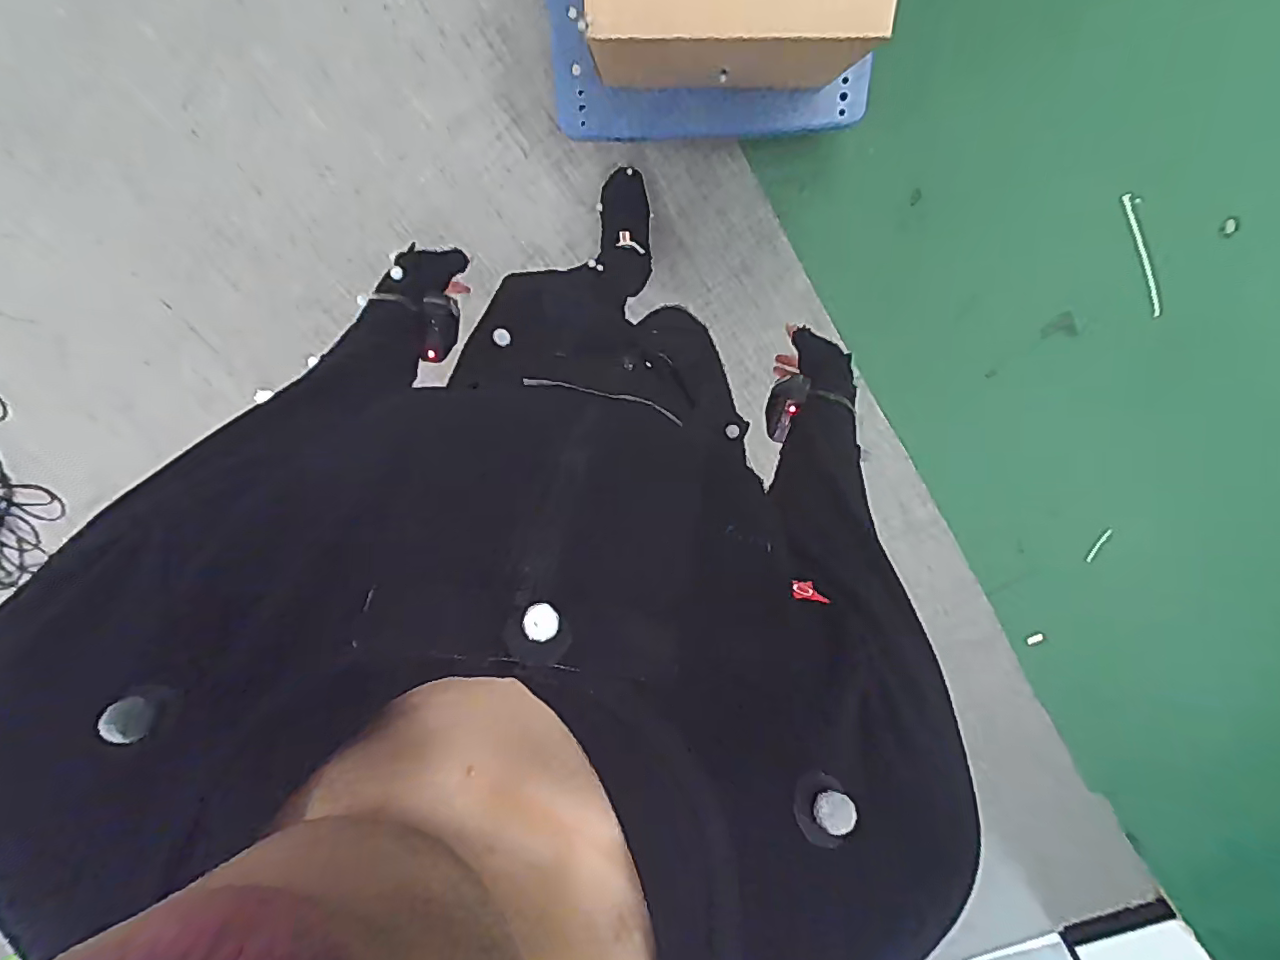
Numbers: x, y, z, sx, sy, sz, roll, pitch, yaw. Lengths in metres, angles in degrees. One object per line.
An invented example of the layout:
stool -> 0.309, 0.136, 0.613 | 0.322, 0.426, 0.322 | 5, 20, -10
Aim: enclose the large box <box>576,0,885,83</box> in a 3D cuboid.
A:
large box -> 0.122, -0.786, 0.777 | 0.408, 0.320, 0.320 | 1, 116, 1
